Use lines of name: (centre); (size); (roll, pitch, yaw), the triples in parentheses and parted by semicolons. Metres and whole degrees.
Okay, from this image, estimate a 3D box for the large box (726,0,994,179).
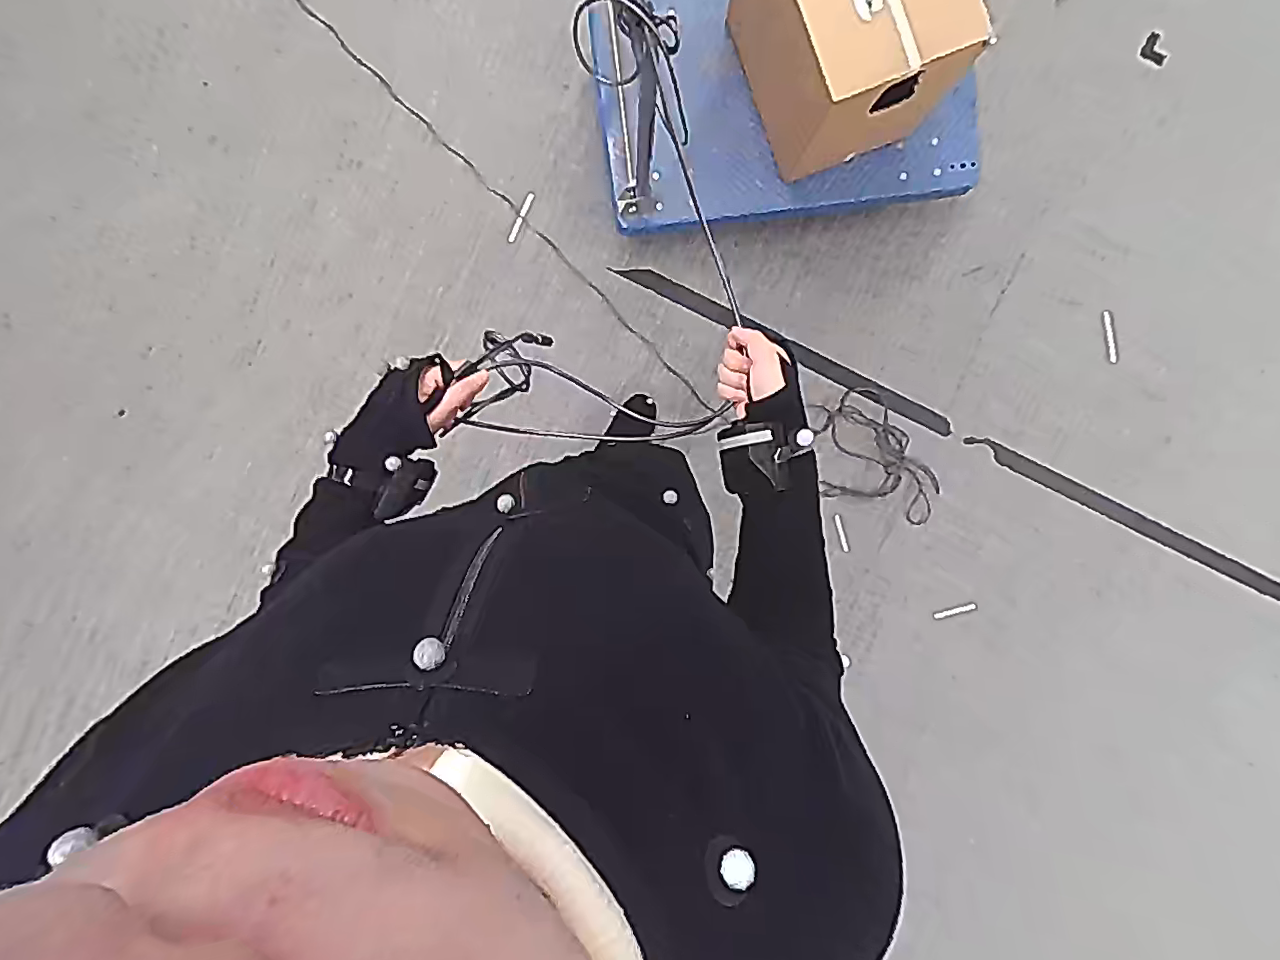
large box: (0.410, -0.921, 1.091); (0.320, 0.320, 0.408); (-22, 95, 2)
